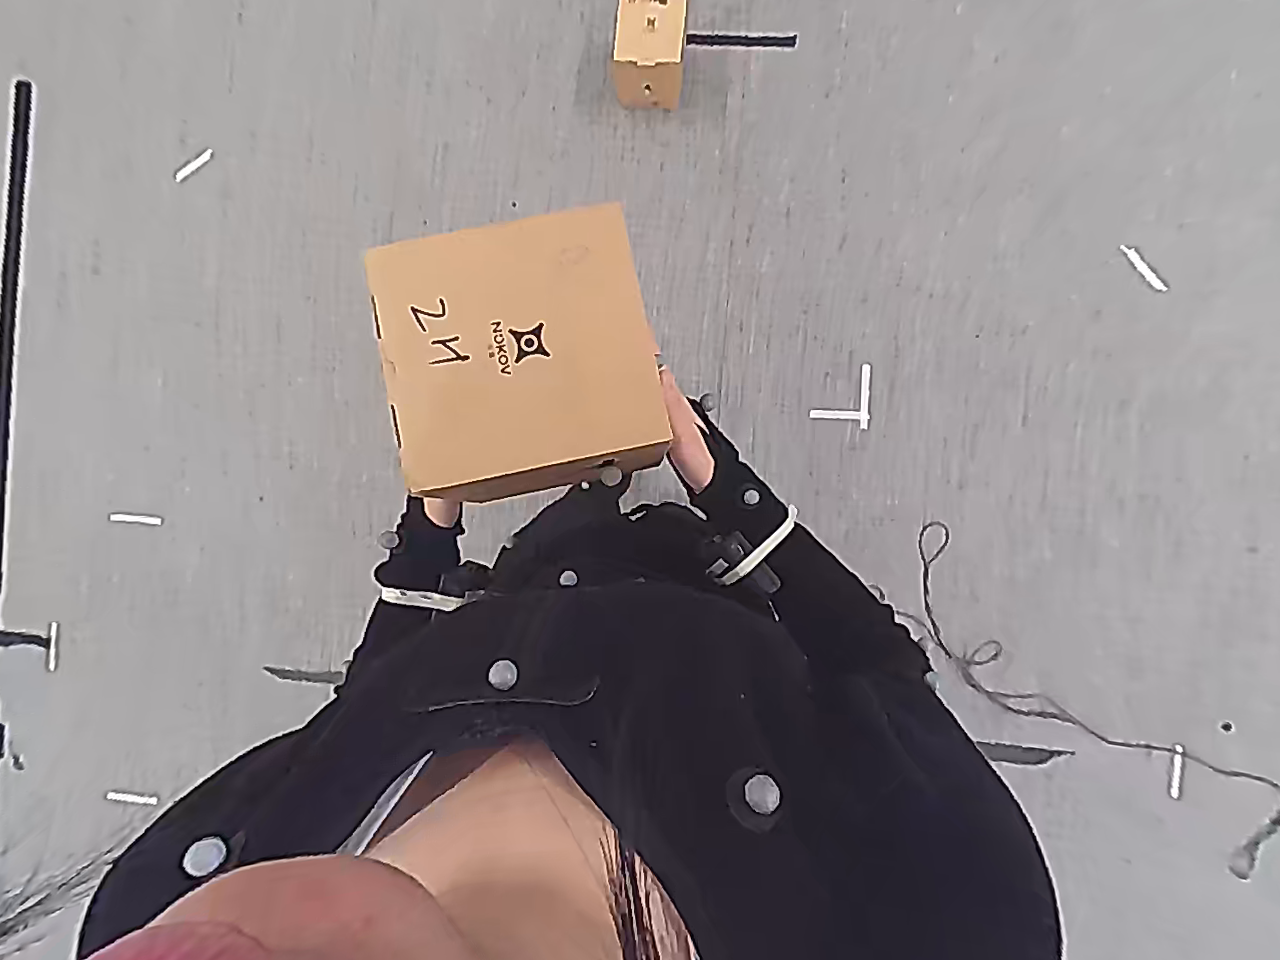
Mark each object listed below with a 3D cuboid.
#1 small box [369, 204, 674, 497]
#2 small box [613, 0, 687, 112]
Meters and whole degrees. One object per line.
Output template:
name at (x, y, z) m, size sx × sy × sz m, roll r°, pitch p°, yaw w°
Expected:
small box at (-0.080, -0.083, 0.430) m, size 0.179 × 0.176 × 0.168 m, roll -11°, pitch 85°, yaw -2°
small box at (0.029, -1.088, 1.392) m, size 0.168 × 0.176 × 0.179 m, roll 7°, pitch 92°, yaw 2°
